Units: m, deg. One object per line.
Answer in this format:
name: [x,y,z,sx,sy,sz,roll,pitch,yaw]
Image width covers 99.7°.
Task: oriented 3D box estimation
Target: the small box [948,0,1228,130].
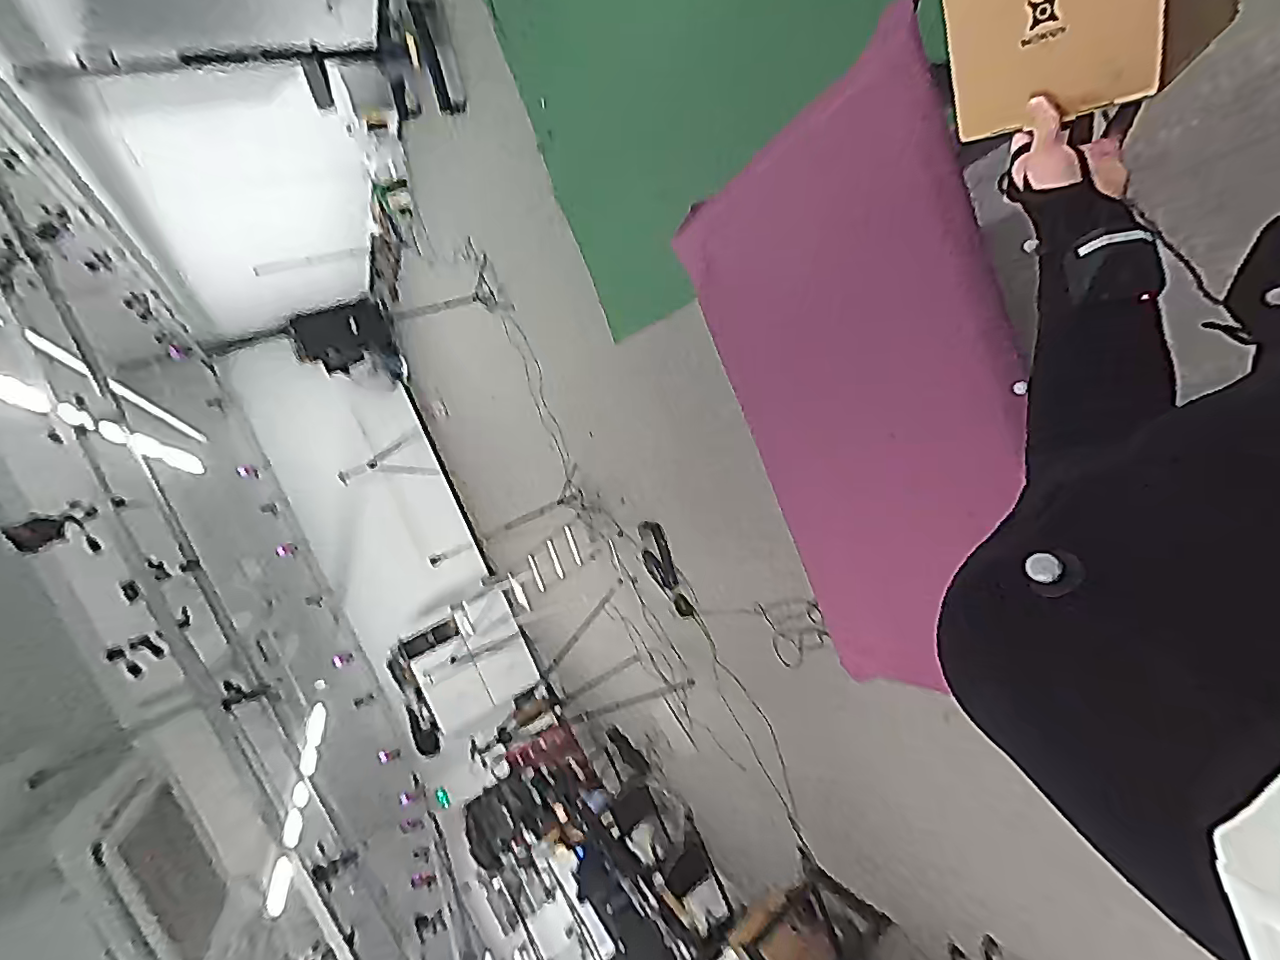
small box: [0.412,-0.467,0.495,0.168,0.176,0.179,25,152,51]
